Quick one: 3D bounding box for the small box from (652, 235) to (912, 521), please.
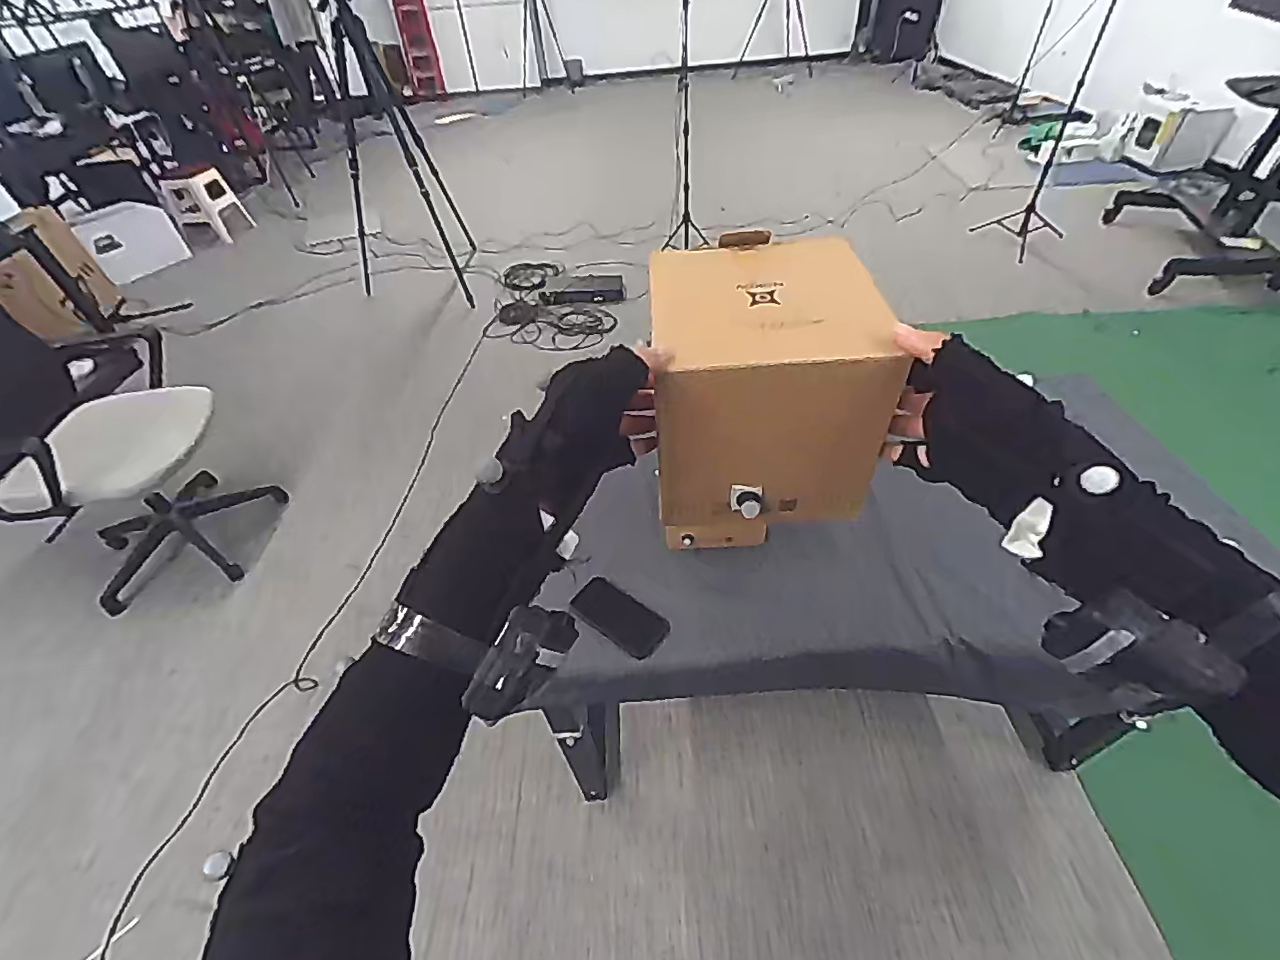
[{"bbox_3d":[0.095,-0.085,0.455,0.168,0.176,0.179,-2,47,3],"label":"small box"}]

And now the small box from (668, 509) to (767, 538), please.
[{"bbox_3d":[0.130,-0.012,0.930,0.168,0.176,0.179,-2,45,3],"label":"small box"}]
